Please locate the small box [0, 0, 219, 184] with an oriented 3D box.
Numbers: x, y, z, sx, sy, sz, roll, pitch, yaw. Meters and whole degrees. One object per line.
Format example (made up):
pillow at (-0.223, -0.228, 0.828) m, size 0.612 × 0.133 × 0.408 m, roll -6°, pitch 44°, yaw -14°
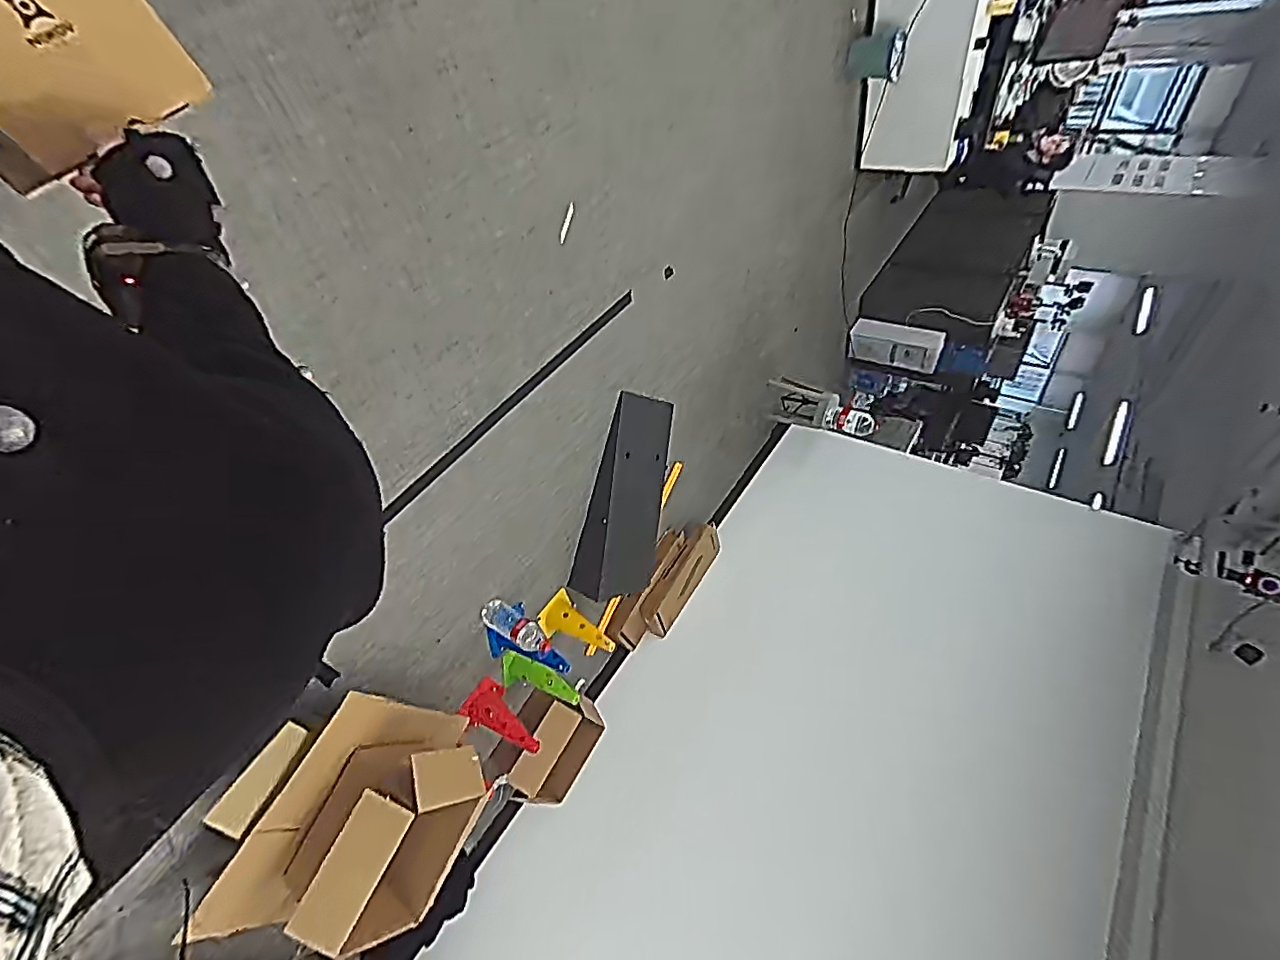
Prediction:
small box at (-0.533, -0.385, 0.465) m, size 0.168 × 0.176 × 0.179 m, roll -57°, pitch 142°, yaw -24°
